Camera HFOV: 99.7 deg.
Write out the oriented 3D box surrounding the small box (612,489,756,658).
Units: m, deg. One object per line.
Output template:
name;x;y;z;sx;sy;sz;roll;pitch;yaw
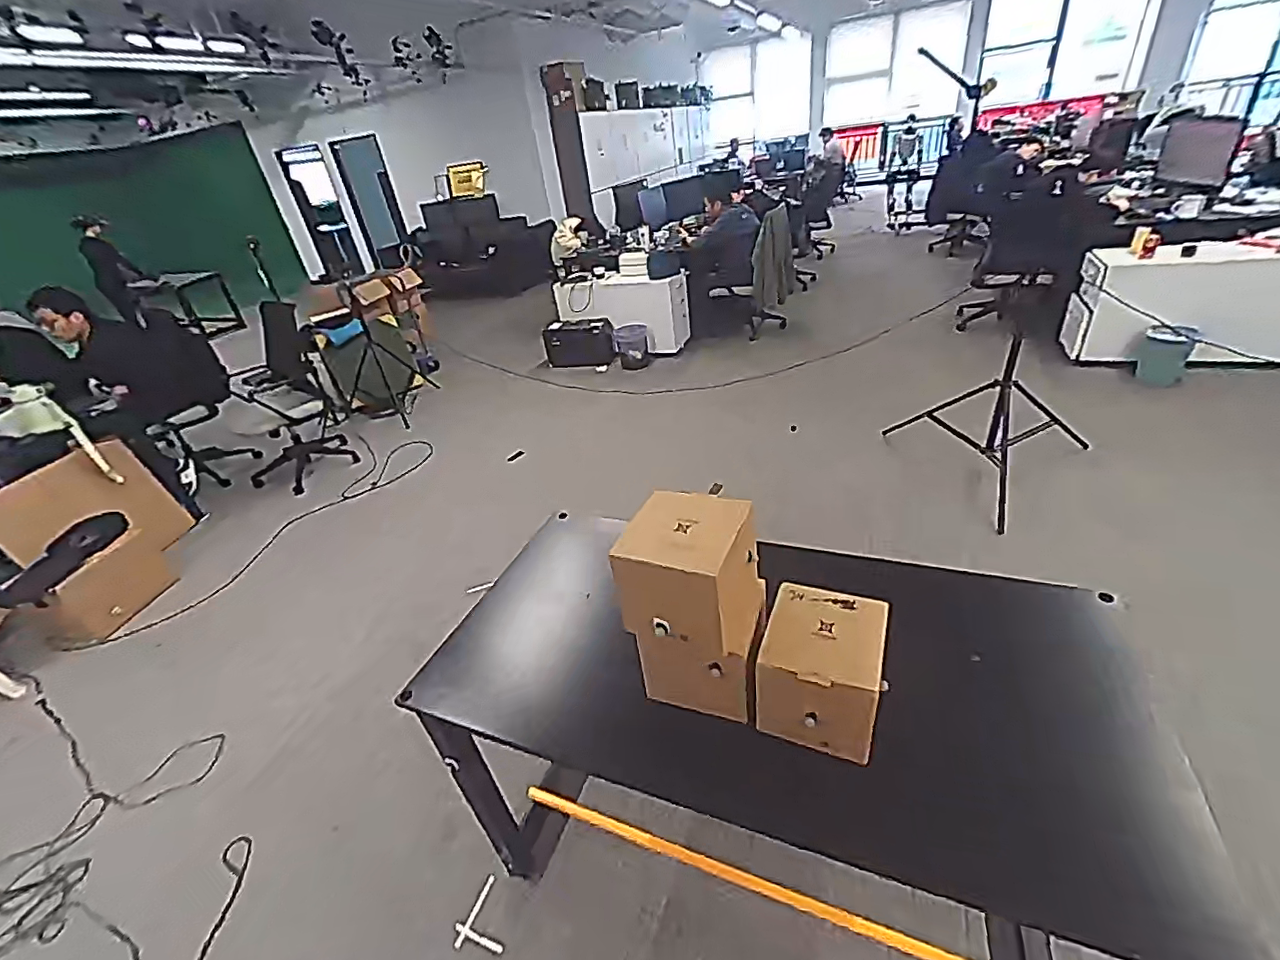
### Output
small box;0.077;0.138;0.836;0.168;0.176;0.179;7;36;26
